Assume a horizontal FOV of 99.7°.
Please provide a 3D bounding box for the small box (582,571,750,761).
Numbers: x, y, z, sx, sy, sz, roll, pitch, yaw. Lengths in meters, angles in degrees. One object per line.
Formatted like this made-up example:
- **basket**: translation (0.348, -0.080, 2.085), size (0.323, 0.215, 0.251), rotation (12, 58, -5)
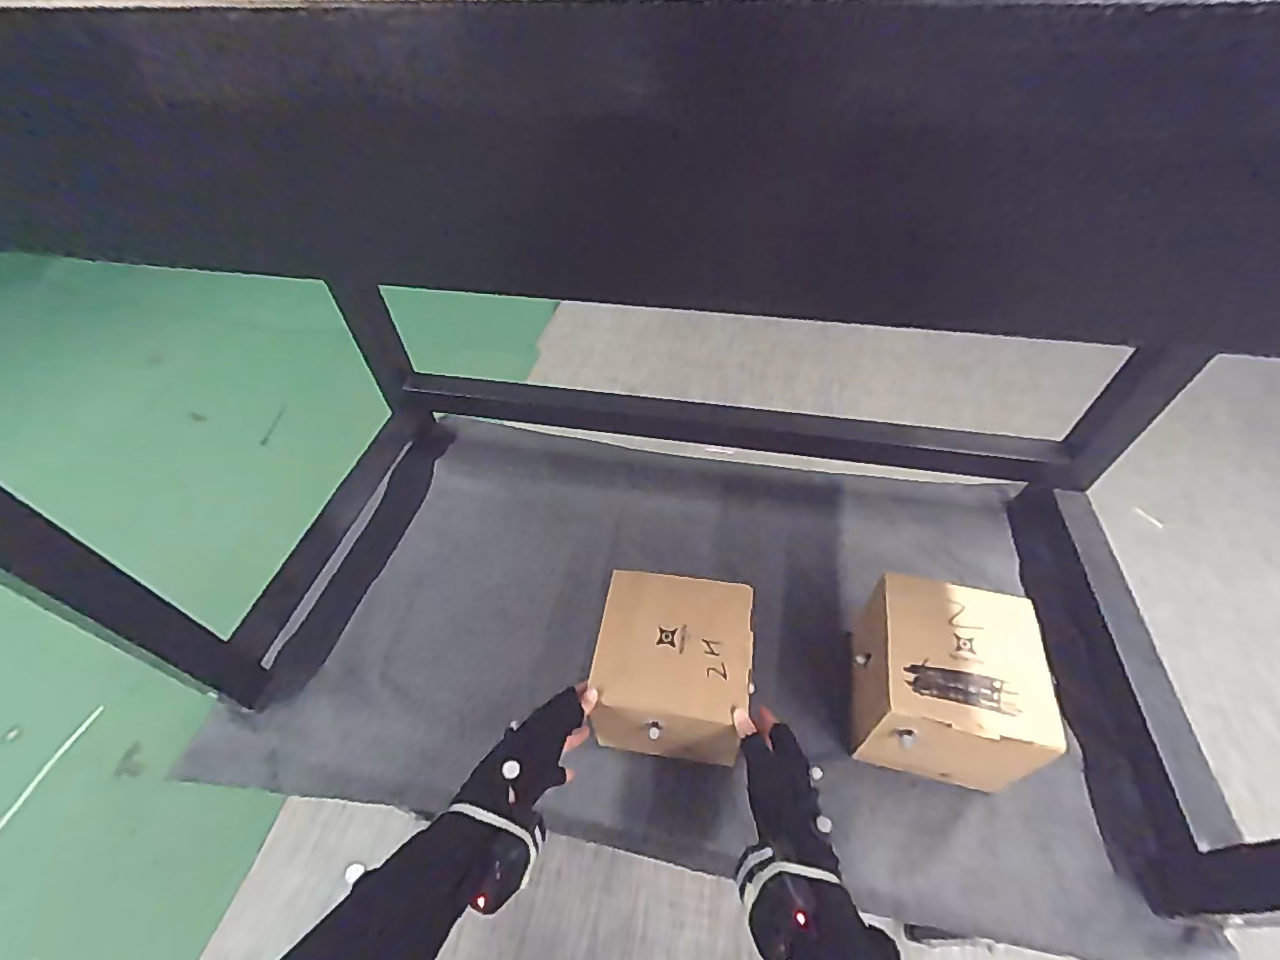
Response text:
- **small box**: translation (0.039, 0.237, 0.681), size (0.179, 0.176, 0.168), rotation (6, 50, 8)
